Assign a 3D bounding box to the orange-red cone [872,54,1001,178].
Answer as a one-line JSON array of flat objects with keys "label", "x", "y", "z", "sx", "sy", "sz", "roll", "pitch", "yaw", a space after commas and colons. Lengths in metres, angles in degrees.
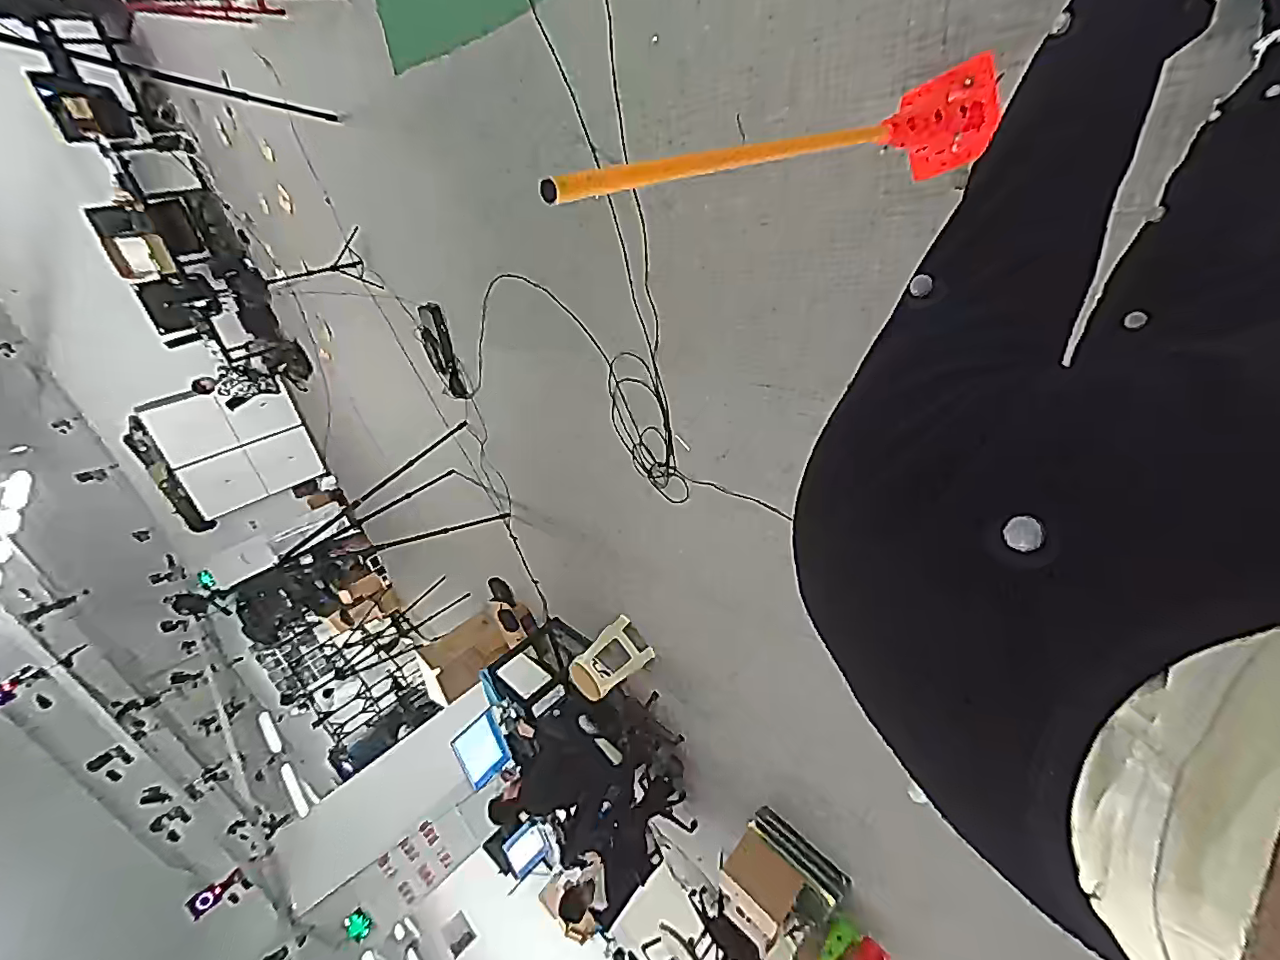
[{"label": "orange-red cone", "x": 0.594, "y": -0.756, "z": 1.154, "sx": 0.199, "sy": 0.360, "sz": 0.198, "roll": 3, "pitch": 118, "yaw": 51}]
